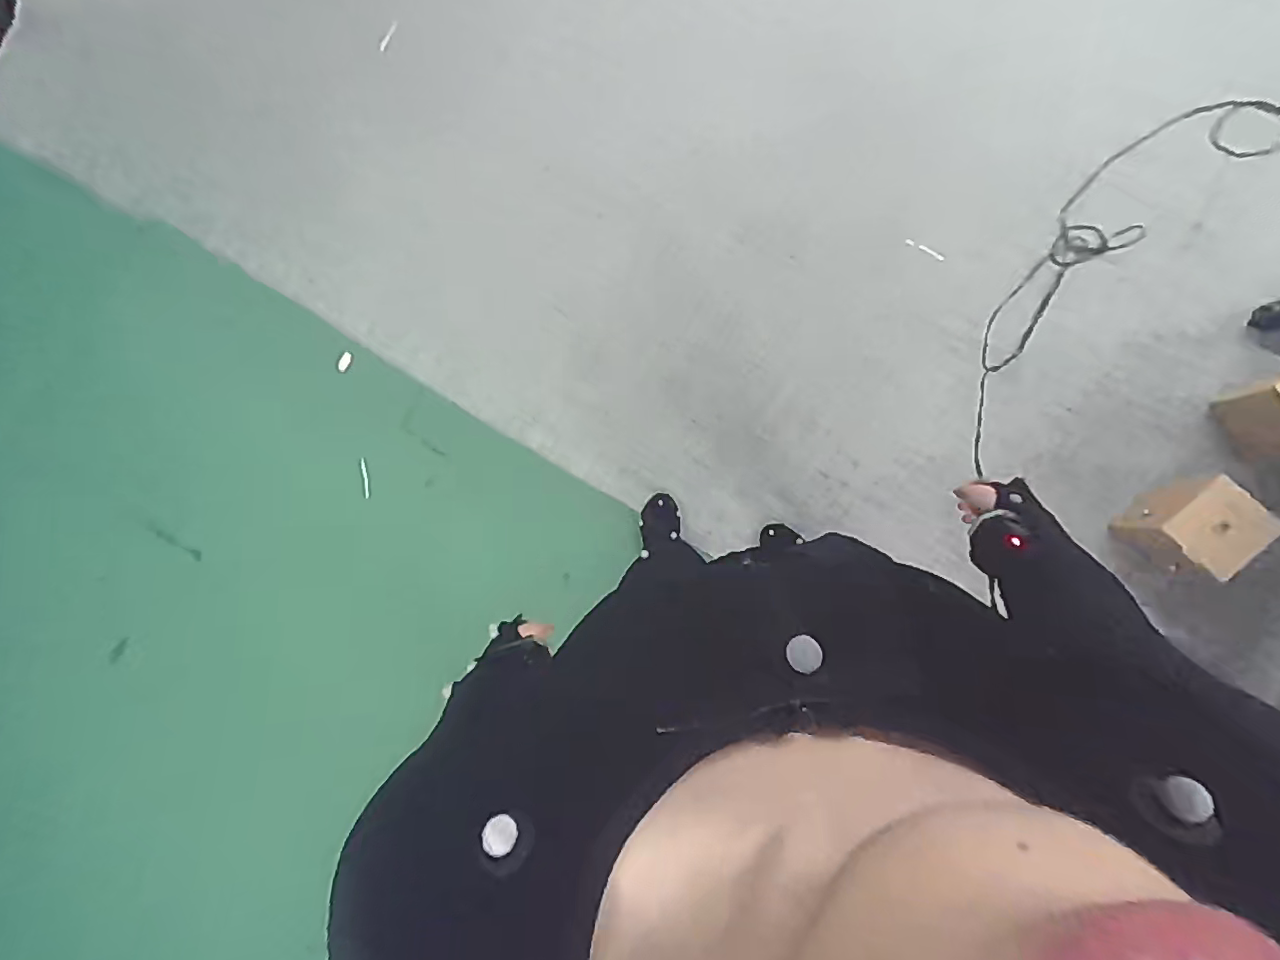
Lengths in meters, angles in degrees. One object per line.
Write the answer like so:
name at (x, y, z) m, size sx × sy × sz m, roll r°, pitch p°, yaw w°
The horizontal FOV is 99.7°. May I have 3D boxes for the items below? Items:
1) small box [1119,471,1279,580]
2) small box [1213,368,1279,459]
small box at (1.255, 0.103, 1.226) m, size 0.168 × 0.176 × 0.179 m, roll 44°, pitch 92°, yaw 8°
small box at (1.469, -0.161, 1.210) m, size 0.168 × 0.176 × 0.179 m, roll -27°, pitch 84°, yaw 6°
